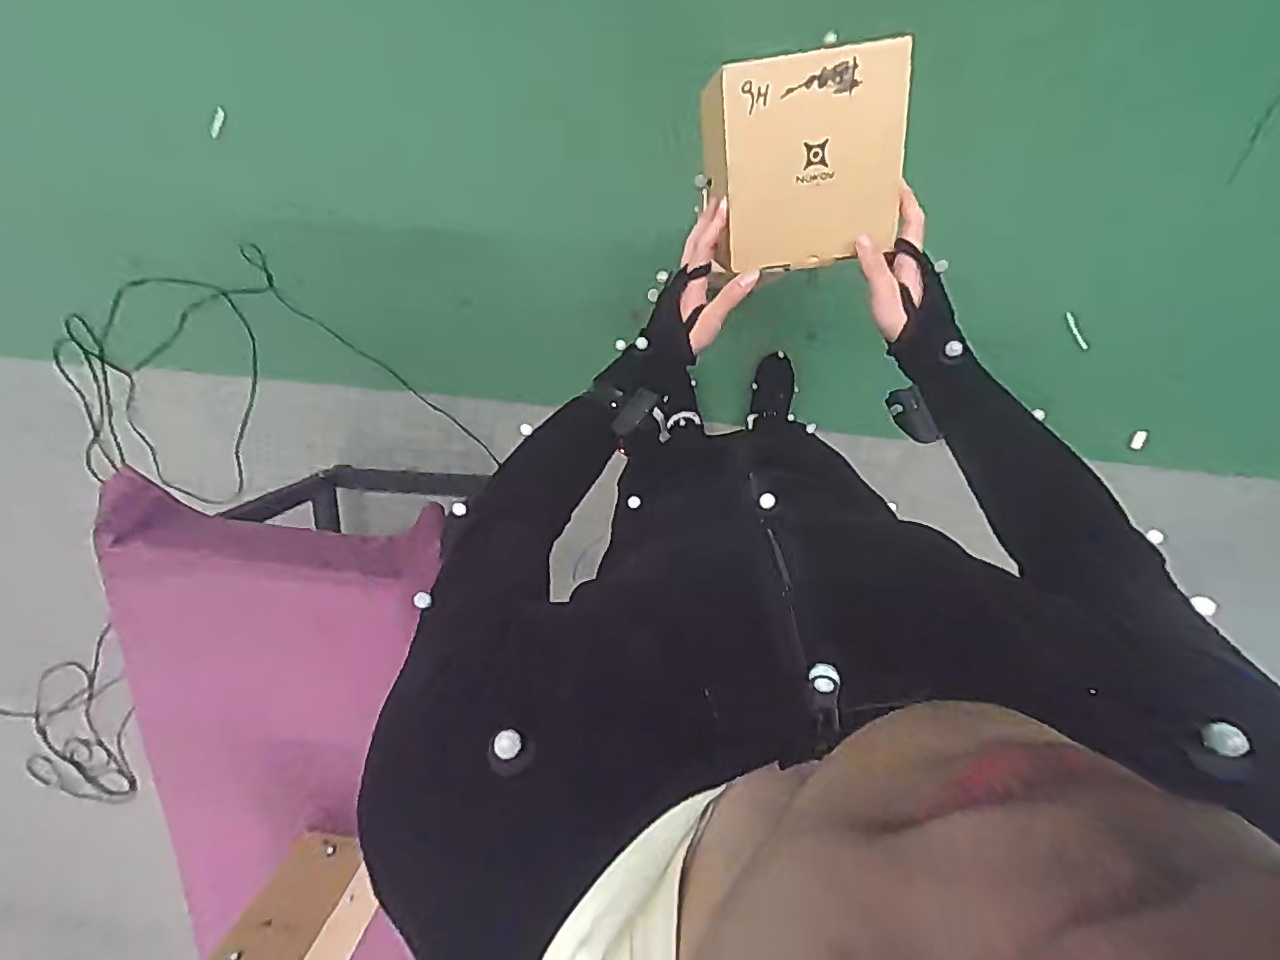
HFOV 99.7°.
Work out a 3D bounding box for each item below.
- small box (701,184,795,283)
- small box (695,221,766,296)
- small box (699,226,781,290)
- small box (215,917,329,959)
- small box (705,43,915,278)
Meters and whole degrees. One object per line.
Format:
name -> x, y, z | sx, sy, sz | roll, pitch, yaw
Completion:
small box -> 0.213, -0.484, 1.076 | 0.179, 0.176, 0.168 | 2, 106, 4
small box -> 0.238, -0.568, 1.391 | 0.179, 0.176, 0.168 | 6, 106, 4
small box -> 0.230, -0.527, 1.234 | 0.179, 0.176, 0.168 | 4, 106, 5
small box -> -0.686, 0.936, 0.969 | 0.168, 0.176, 0.179 | 5, 106, 4
small box -> 0.163, -0.326, 0.572 | 0.168, 0.176, 0.179 | -7, 118, 3
